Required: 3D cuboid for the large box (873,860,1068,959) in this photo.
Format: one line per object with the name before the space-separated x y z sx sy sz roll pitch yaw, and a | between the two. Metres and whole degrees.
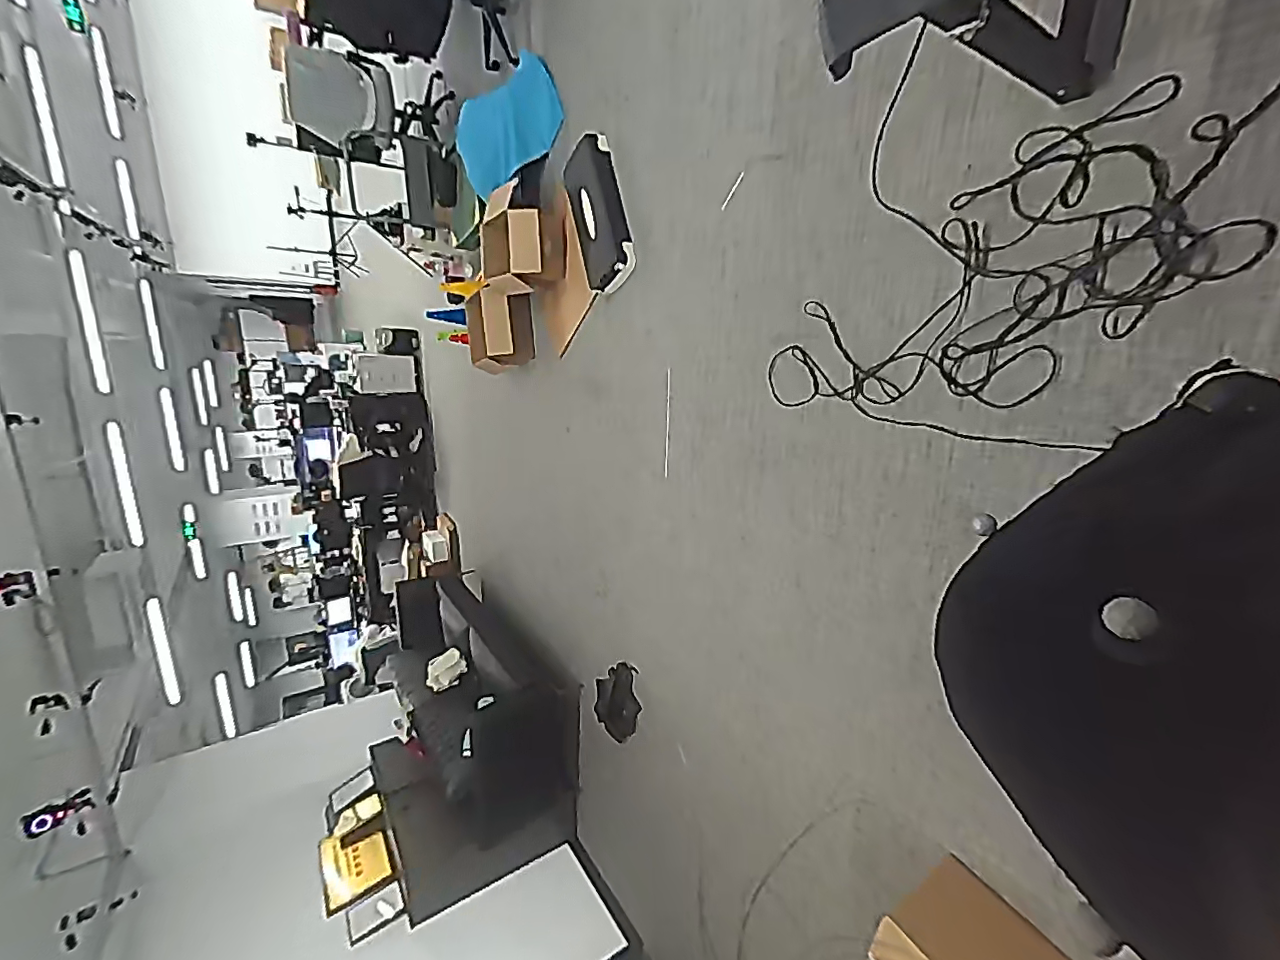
large box | 0.836 1.266 1.312 0.408 0.320 0.320 33 123 51
